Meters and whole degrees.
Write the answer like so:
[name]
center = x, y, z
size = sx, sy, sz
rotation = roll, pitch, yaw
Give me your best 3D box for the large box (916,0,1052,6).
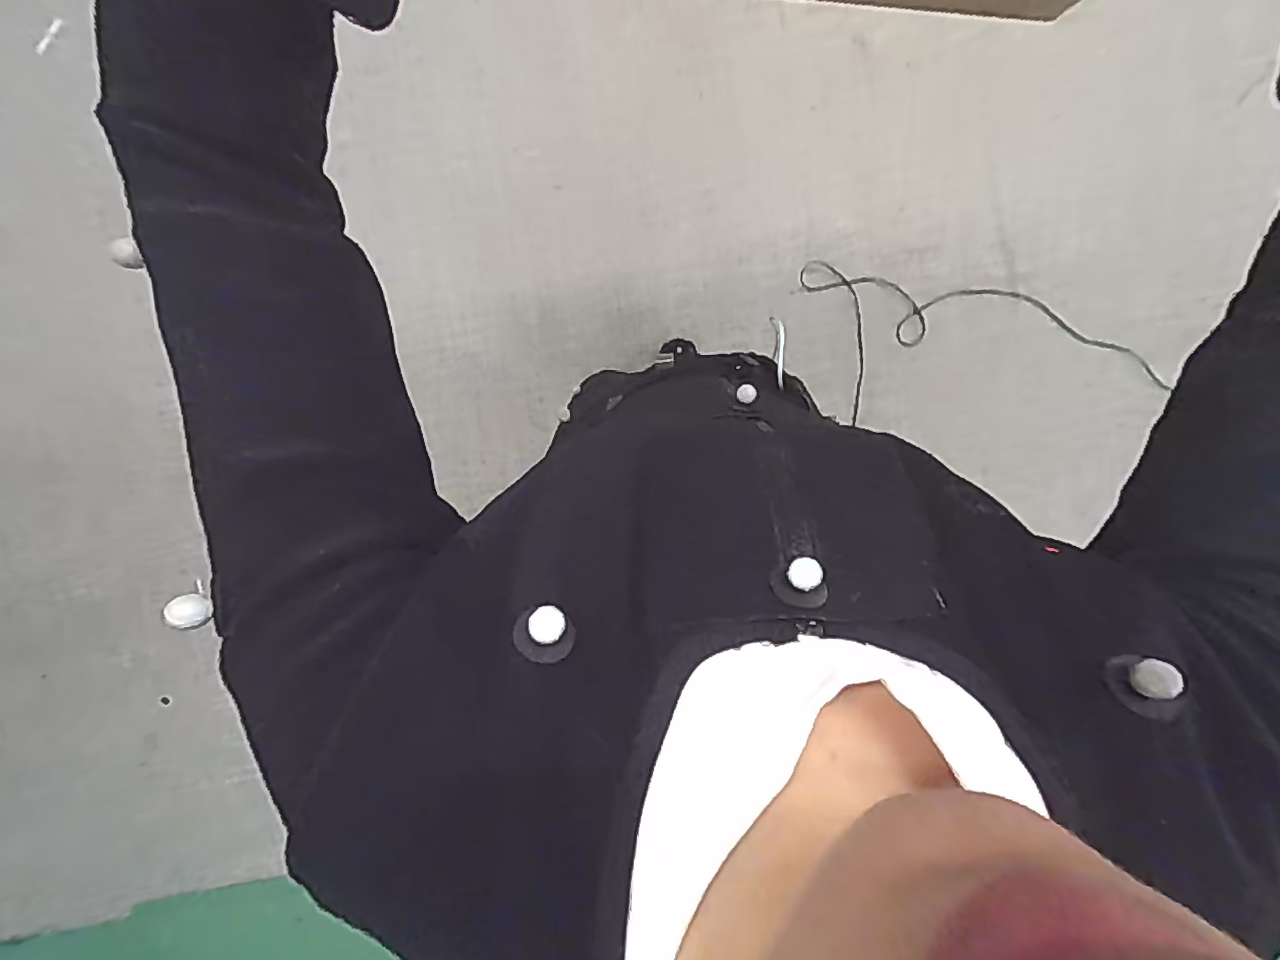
[large box]
center = 0.147, -0.496, 0.253
size = 0.408, 0.320, 0.320
rotation = 3, 107, -3
